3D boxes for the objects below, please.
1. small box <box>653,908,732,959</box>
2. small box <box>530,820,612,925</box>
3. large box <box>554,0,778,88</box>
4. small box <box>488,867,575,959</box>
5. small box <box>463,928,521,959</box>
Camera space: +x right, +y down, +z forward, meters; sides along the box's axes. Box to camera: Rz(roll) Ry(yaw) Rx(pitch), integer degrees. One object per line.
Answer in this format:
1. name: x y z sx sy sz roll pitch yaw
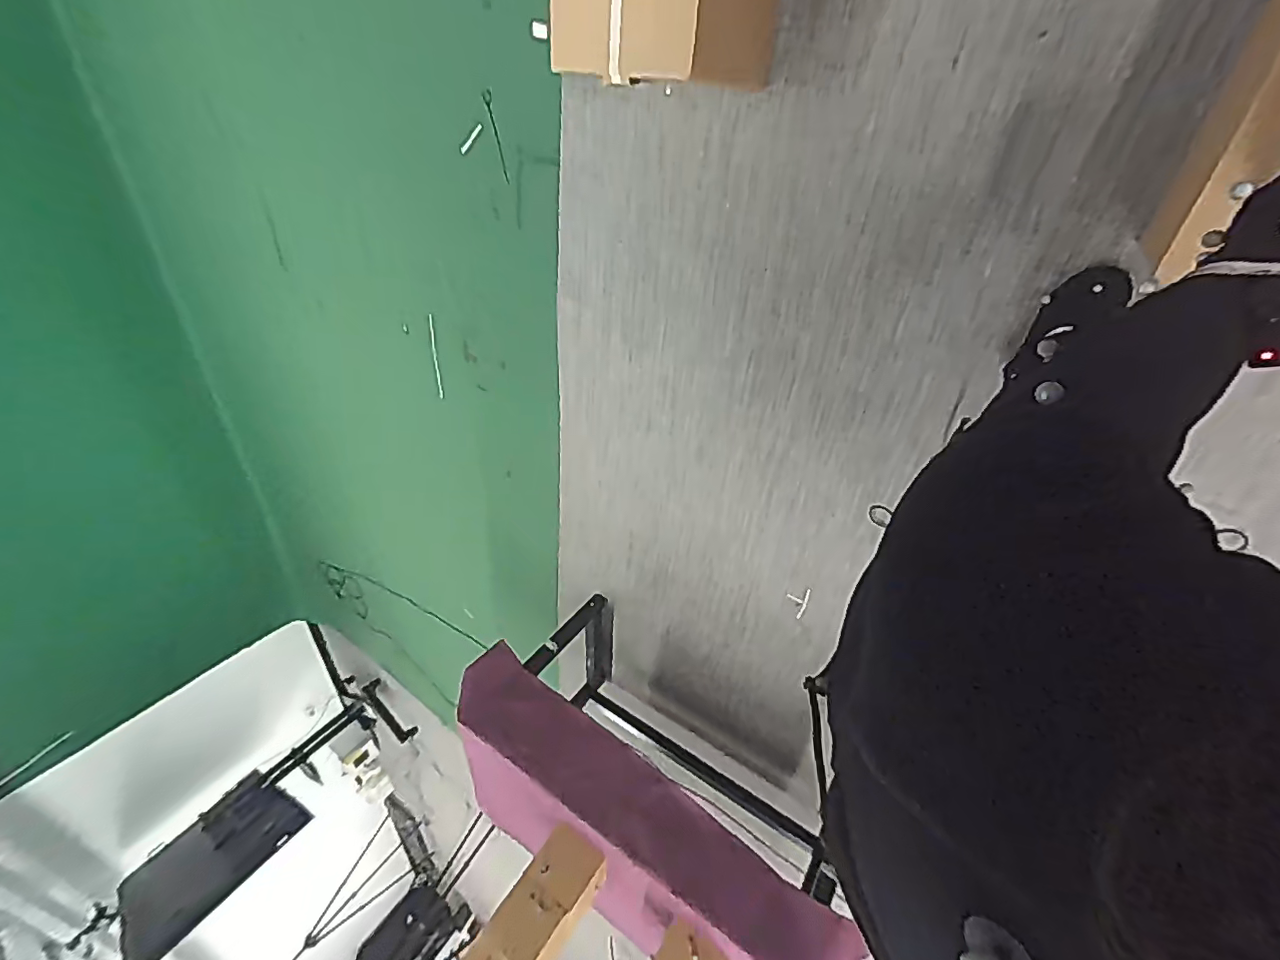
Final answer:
1. small box: 0.129 1.295 1.432 0.168 0.176 0.179 24 130 25
2. small box: -0.202 1.151 1.604 0.179 0.176 0.168 23 130 26
3. large box: 0.060 -0.957 0.959 0.320 0.320 0.408 25 129 25
4. small box: -0.292 1.229 1.492 0.168 0.176 0.179 21 128 26
5. small box: -0.380 1.310 1.382 0.168 0.176 0.179 19 127 28
